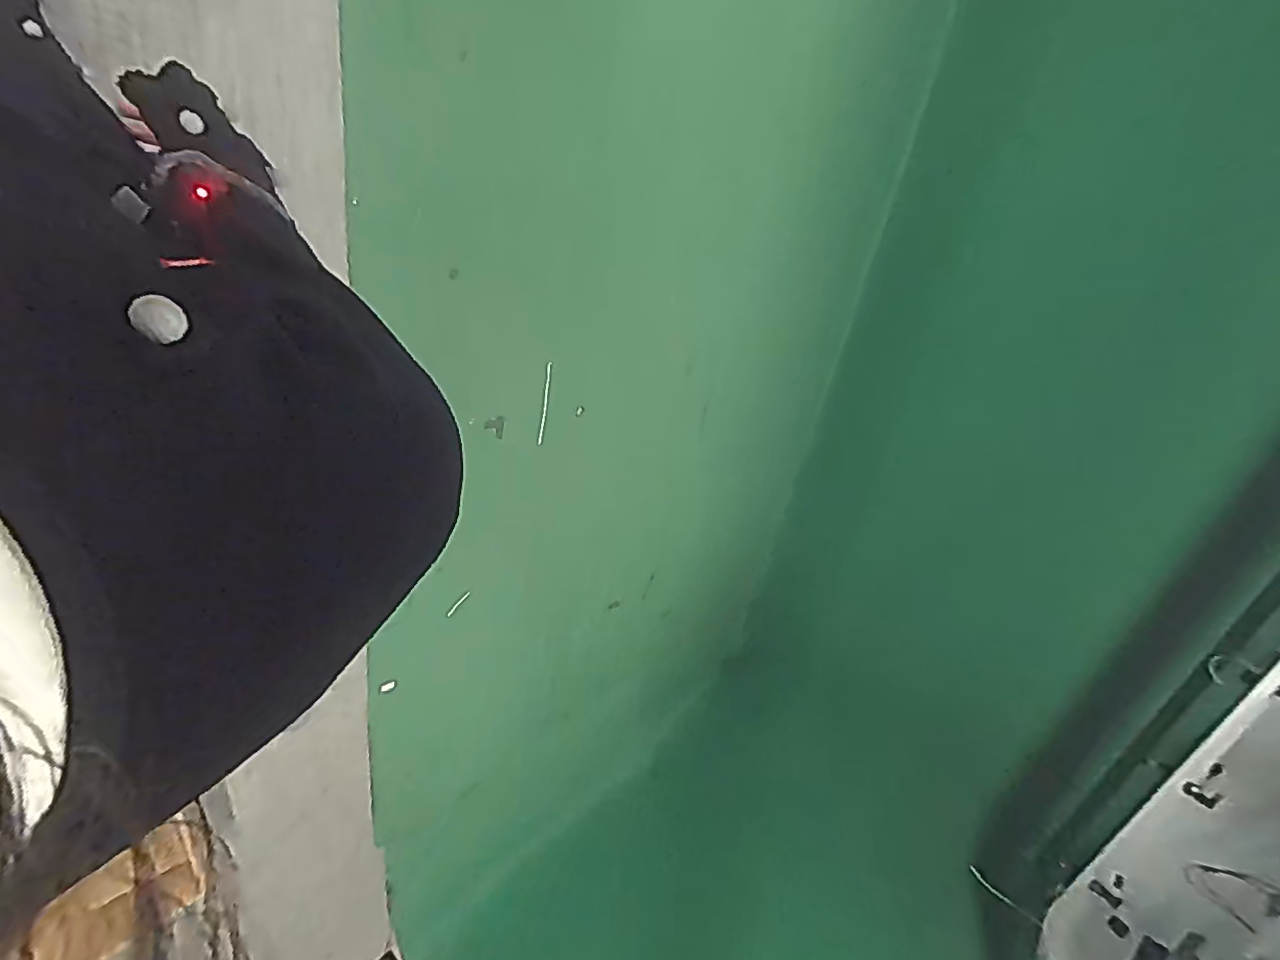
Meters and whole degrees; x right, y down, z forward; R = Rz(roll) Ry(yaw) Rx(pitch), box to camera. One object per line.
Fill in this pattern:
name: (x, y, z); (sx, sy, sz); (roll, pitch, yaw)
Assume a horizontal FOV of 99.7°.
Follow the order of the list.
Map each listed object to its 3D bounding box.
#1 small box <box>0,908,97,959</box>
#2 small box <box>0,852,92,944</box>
small box: (-1.316, 1.094, 1.167); (0.179, 0.176, 0.168); (-25, 135, -40)
small box: (-1.444, 1.031, 1.276); (0.168, 0.176, 0.179); (-20, 131, -45)
